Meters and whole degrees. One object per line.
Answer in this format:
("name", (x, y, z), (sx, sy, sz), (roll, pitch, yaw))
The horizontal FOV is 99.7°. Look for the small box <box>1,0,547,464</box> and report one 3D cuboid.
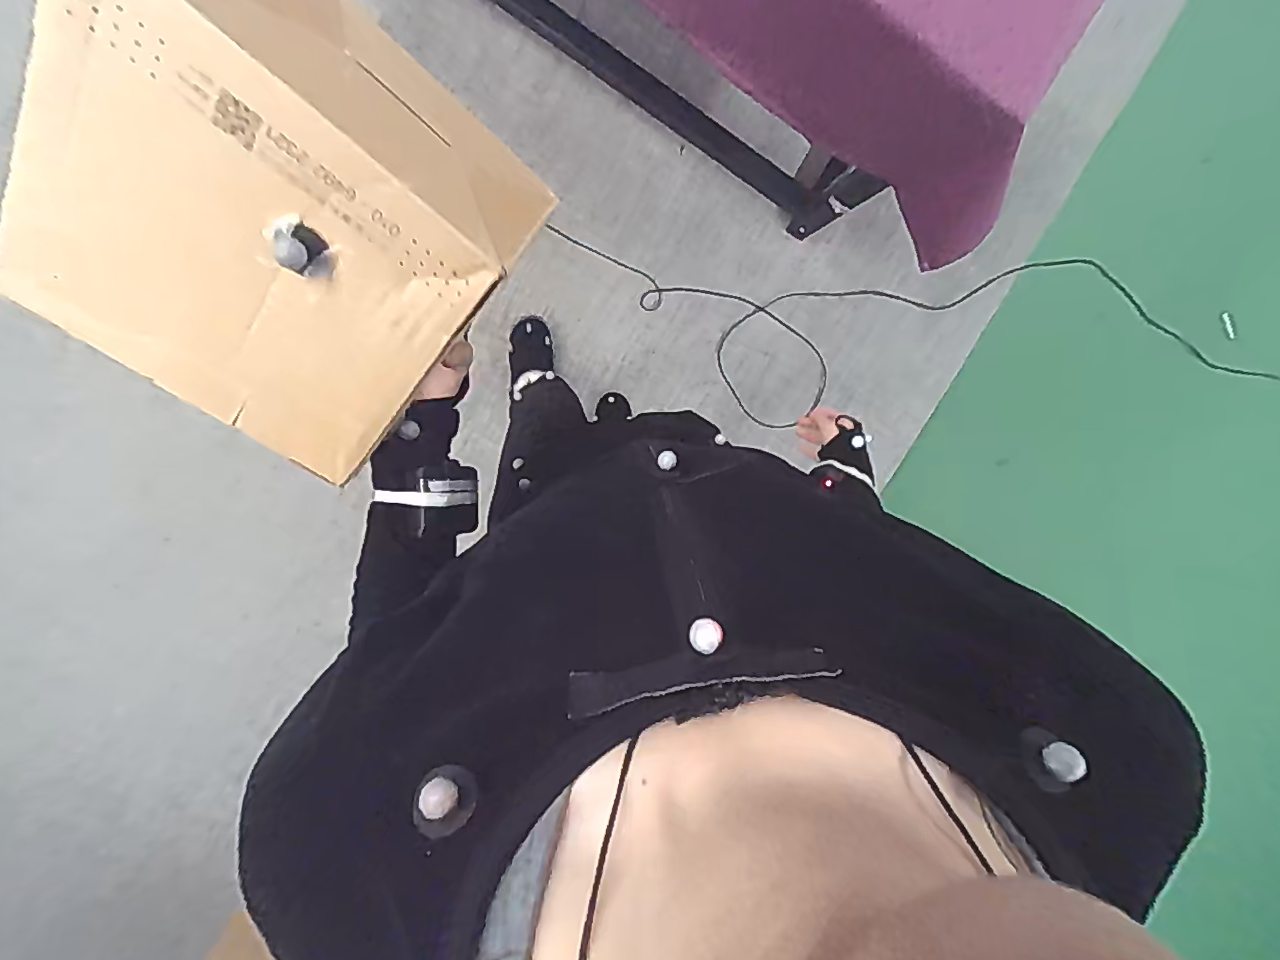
("small box", (-0.170, -0.149, 0.305), (0.168, 0.179, 0.176), (37, 118, -23))
